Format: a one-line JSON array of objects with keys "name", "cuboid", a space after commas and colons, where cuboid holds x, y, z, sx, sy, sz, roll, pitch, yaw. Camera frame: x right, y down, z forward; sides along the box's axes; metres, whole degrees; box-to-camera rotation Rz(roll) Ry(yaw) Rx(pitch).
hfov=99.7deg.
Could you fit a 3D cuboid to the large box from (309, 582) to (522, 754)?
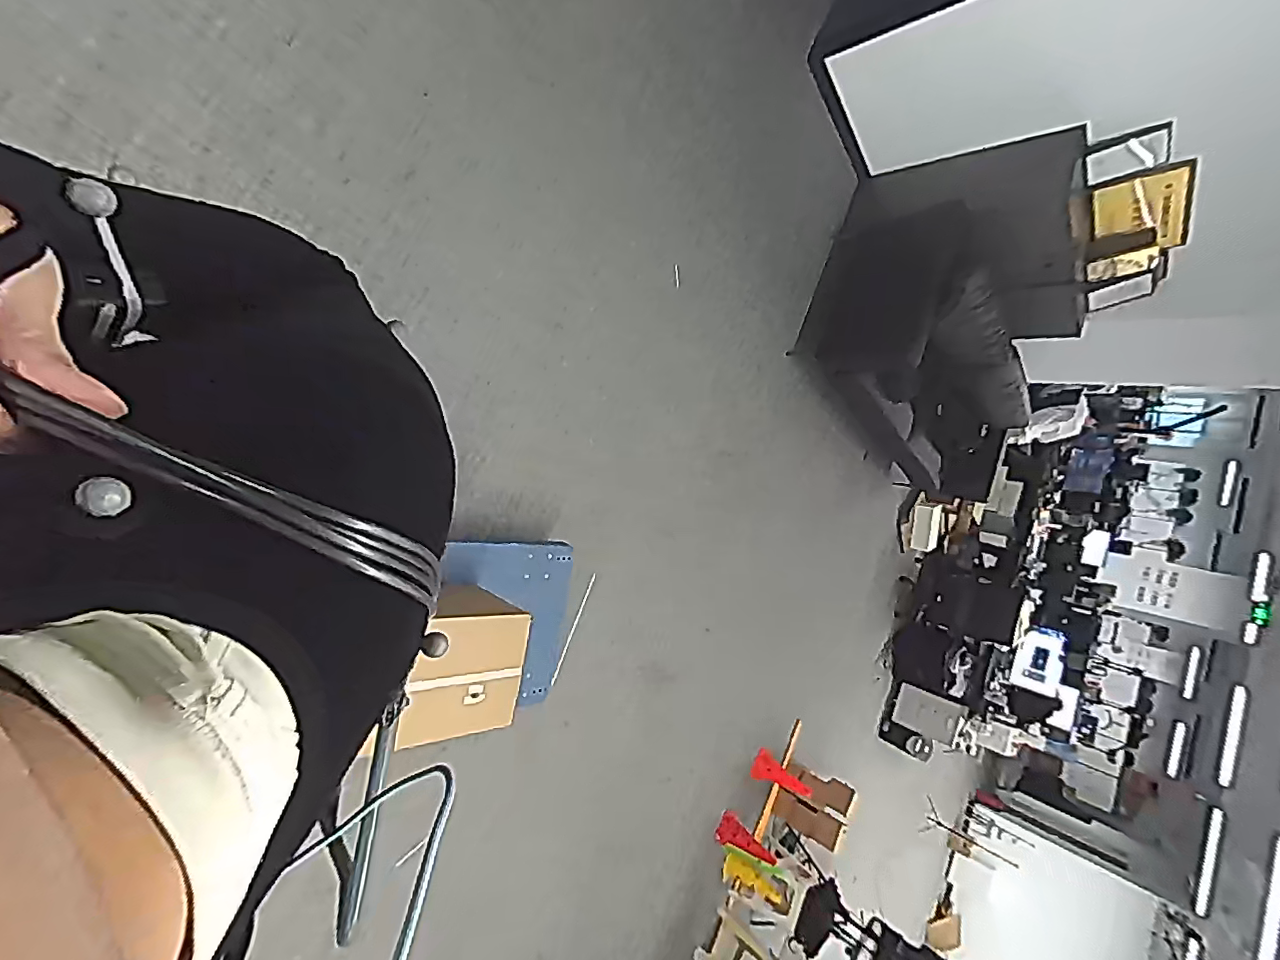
[{"name": "large box", "cuboid": [-0.587, 0.456, 1.425, 0.408, 0.320, 0.320, 11, 90, -47]}]
